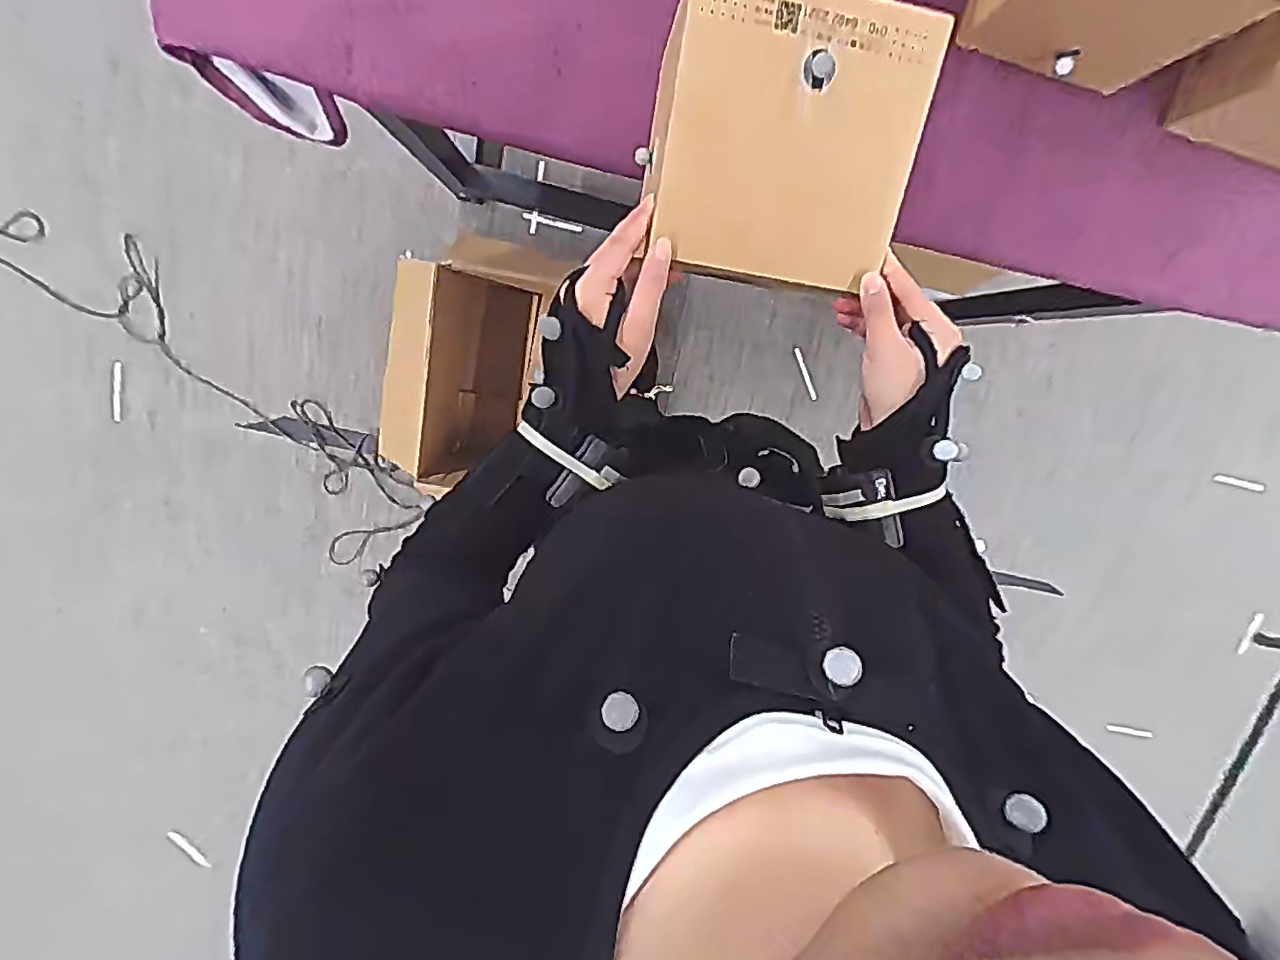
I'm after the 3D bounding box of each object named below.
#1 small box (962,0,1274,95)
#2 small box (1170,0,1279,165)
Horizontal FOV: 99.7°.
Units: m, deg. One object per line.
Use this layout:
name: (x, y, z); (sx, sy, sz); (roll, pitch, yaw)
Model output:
small box: (0.427, -0.478, 0.457); (0.179, 0.176, 0.168); (13, 102, -6)
small box: (0.663, -0.414, 0.488); (0.179, 0.176, 0.168); (13, 101, -7)
